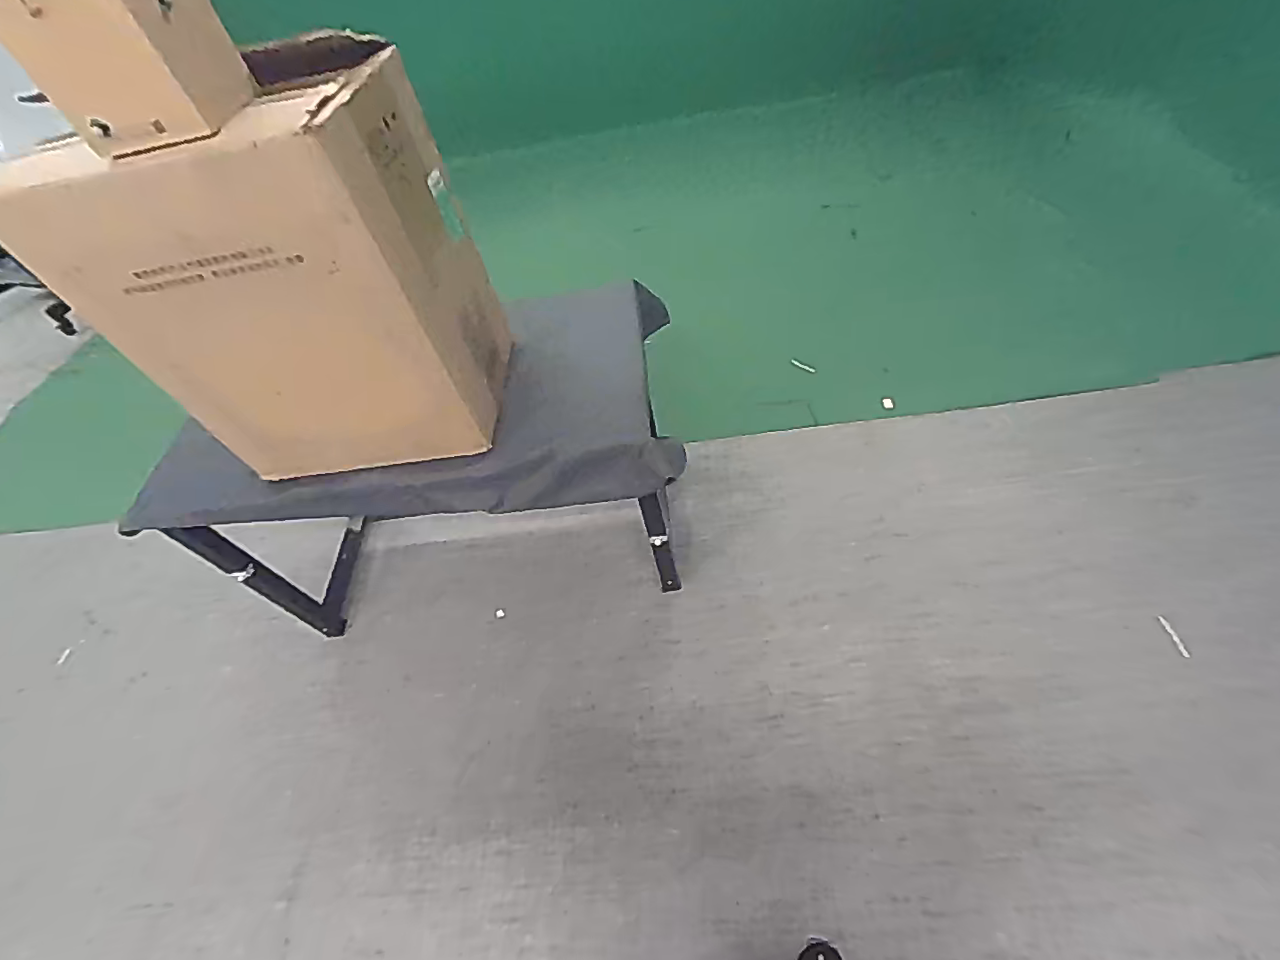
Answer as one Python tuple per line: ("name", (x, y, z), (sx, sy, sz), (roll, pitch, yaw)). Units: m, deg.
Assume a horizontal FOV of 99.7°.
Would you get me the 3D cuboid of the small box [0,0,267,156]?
("small box", (-0.642, -0.550, 0.711), (0.168, 0.176, 0.179), (-9, 51, 5))
